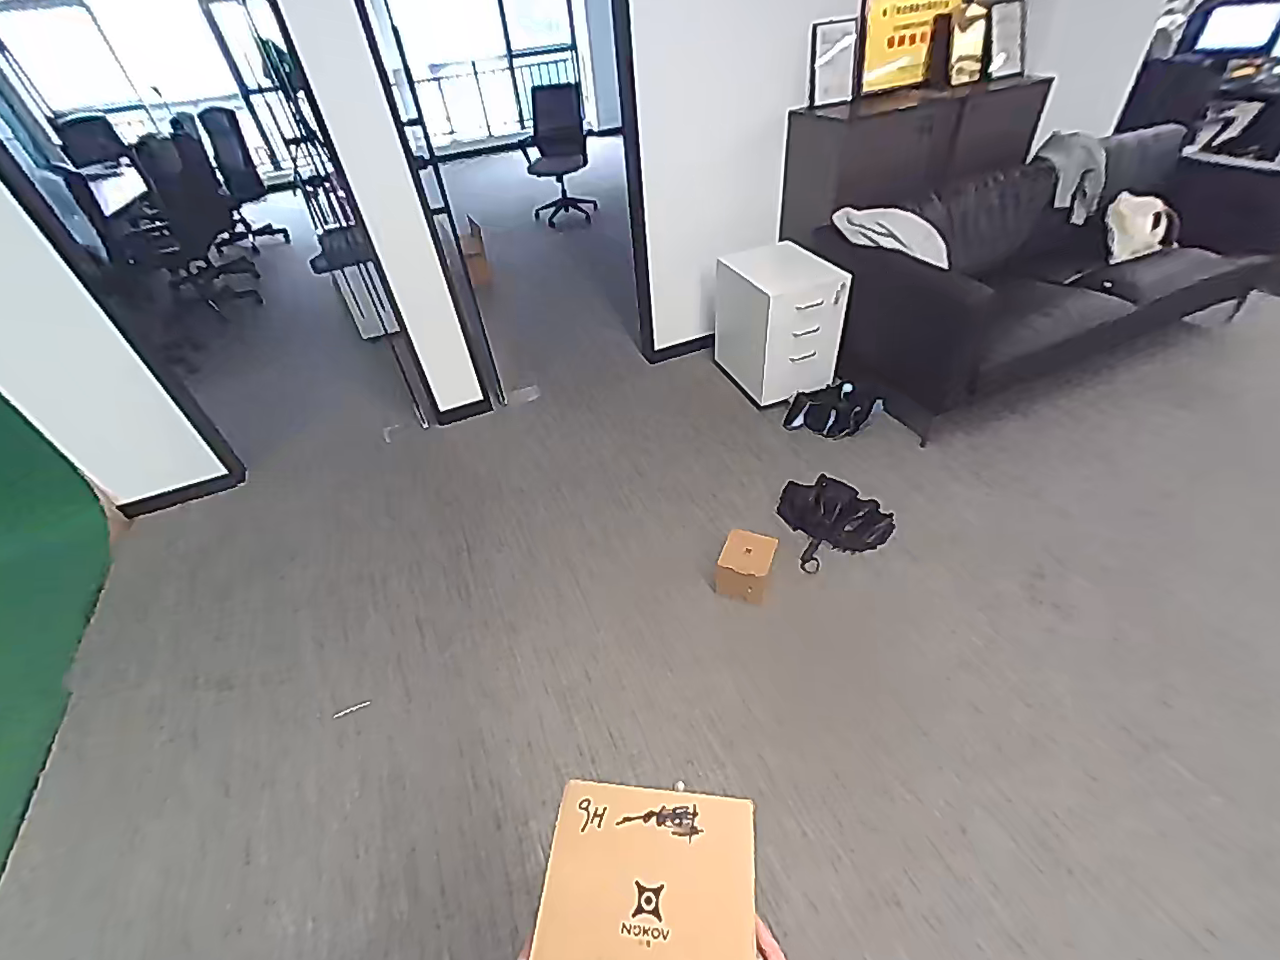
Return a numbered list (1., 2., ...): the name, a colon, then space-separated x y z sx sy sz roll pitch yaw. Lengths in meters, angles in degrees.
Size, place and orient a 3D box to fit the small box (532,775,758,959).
1. small box: 0.013 0.383 0.465 0.168 0.176 0.179 3 45 8
